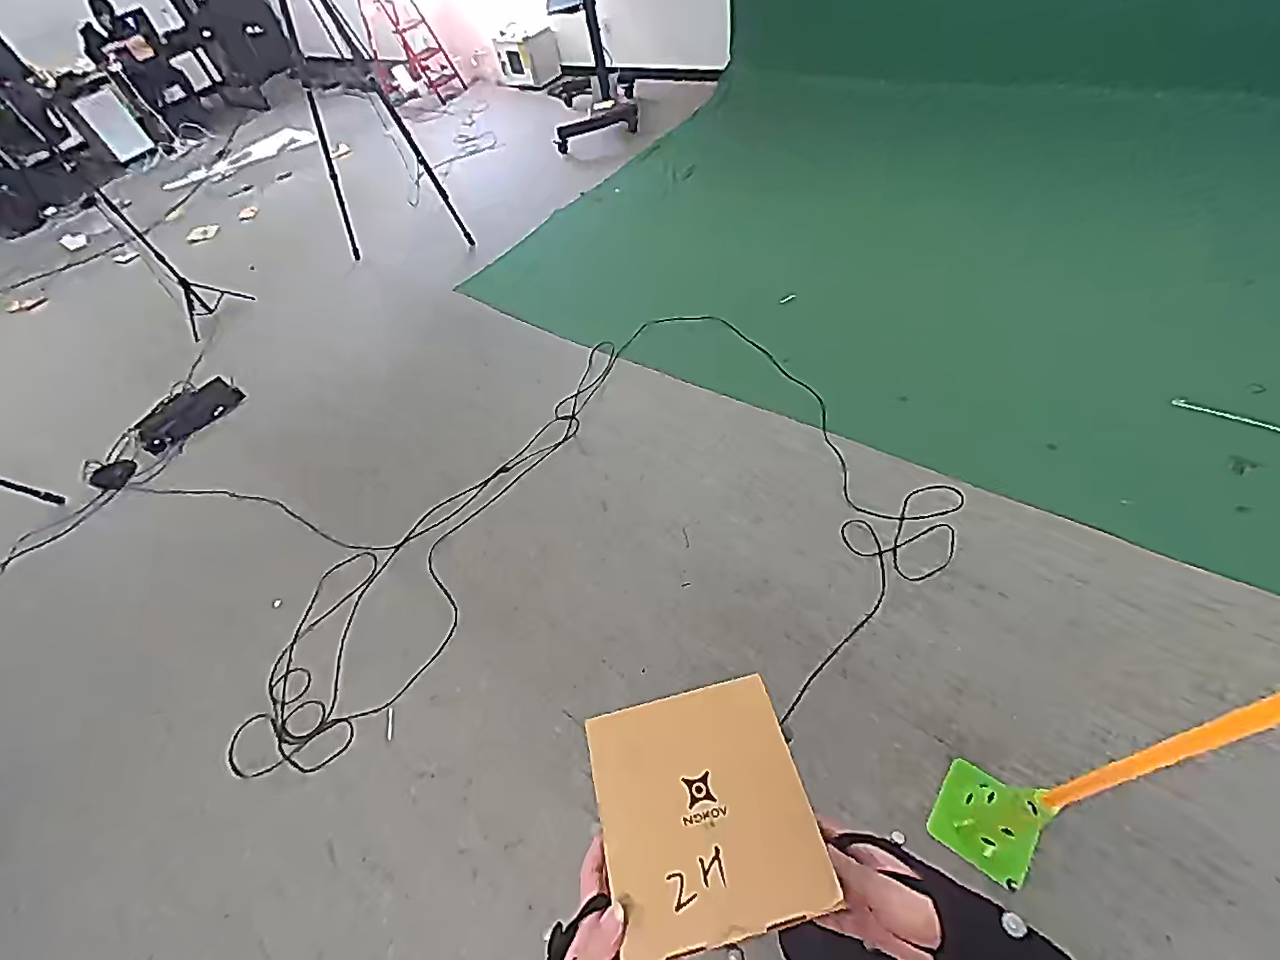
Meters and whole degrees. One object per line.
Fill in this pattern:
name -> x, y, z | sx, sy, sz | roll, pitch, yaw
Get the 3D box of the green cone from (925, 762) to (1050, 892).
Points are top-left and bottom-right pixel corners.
green cone -> 0.769, 0.696, 1.130 | 0.202, 0.368, 0.200 | 27, 62, 30
